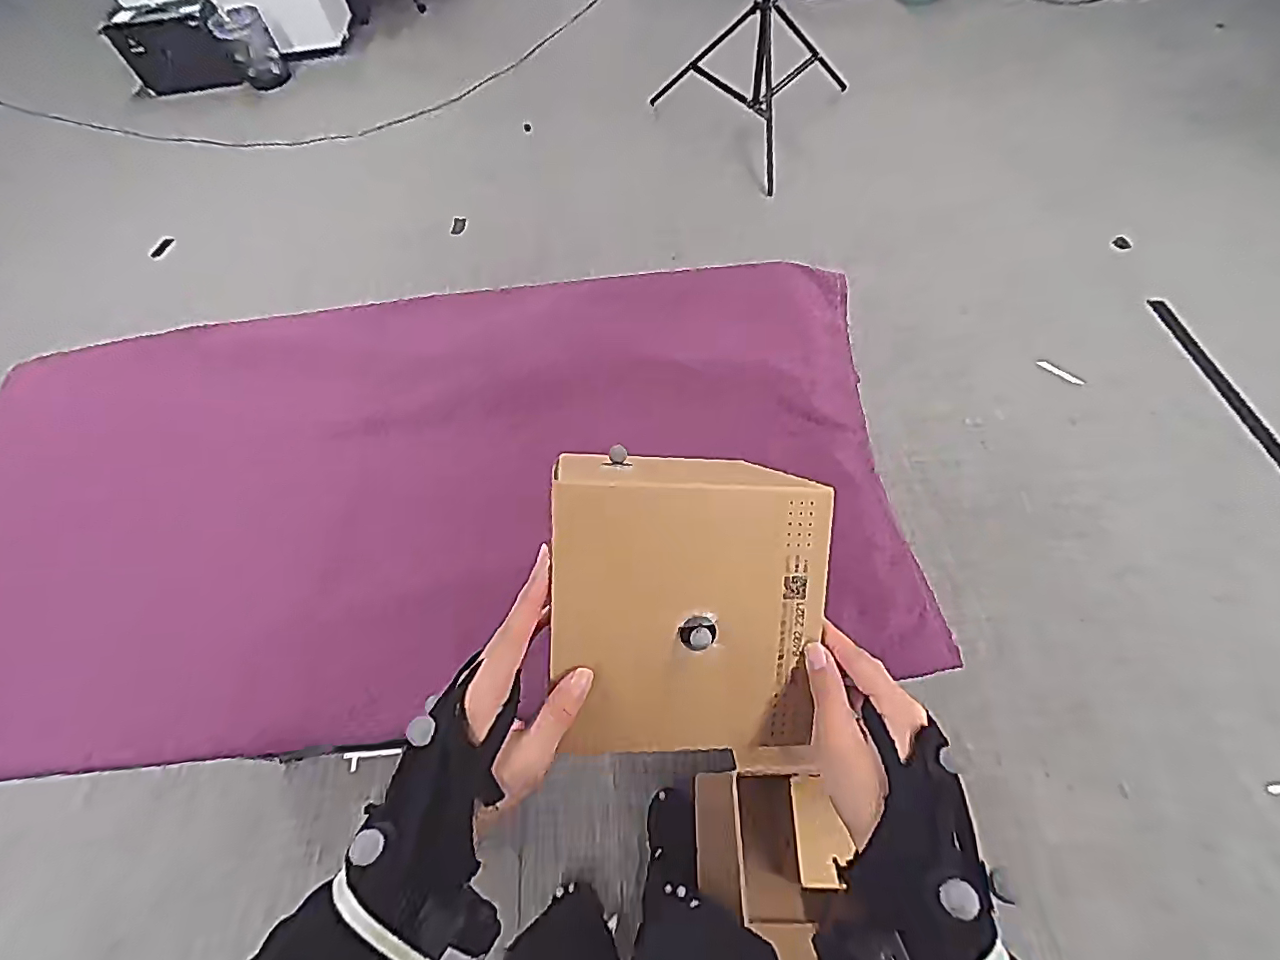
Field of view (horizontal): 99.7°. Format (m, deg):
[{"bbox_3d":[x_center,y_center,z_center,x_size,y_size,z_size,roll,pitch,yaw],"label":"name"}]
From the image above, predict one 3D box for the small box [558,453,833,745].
[{"bbox_3d":[0.026,0.070,0.409,0.176,0.179,0.168,2,97,-9],"label":"small box"}]
